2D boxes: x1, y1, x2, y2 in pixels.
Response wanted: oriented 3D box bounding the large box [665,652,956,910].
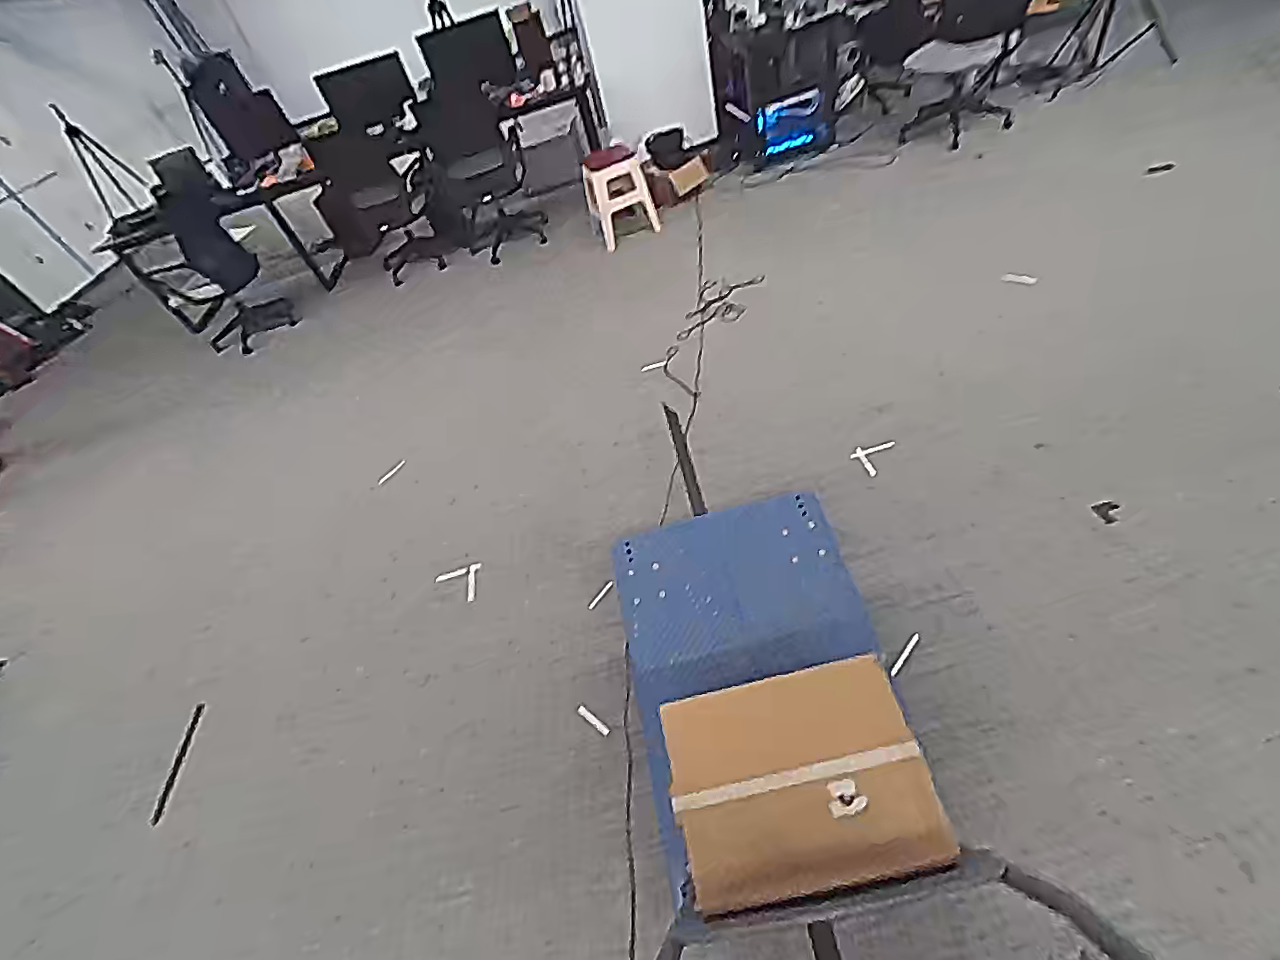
[{"bbox_3d":[0.291,0.566,1.037,0.408,0.320,0.320,-15,59,3],"label":"large box"}]
